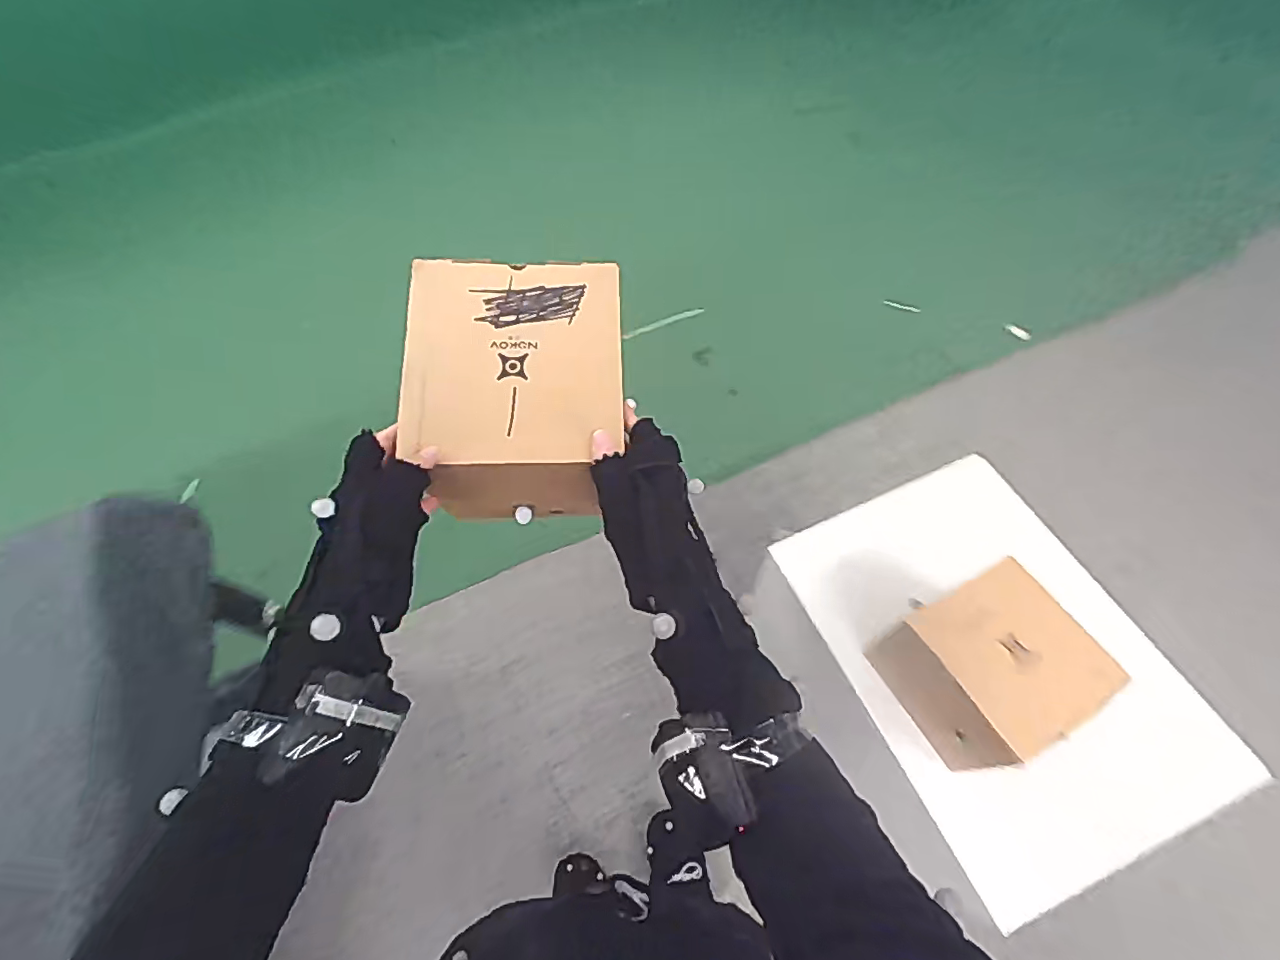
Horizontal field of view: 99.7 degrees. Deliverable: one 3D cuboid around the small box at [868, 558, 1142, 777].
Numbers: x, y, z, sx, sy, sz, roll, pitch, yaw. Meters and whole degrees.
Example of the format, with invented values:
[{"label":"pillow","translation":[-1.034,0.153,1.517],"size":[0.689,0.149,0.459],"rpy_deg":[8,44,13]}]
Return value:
[{"label":"small box","translation":[0.413,0.230,0.650],"size":[0.168,0.176,0.179],"rpy_deg":[-27,60,-12]}]
